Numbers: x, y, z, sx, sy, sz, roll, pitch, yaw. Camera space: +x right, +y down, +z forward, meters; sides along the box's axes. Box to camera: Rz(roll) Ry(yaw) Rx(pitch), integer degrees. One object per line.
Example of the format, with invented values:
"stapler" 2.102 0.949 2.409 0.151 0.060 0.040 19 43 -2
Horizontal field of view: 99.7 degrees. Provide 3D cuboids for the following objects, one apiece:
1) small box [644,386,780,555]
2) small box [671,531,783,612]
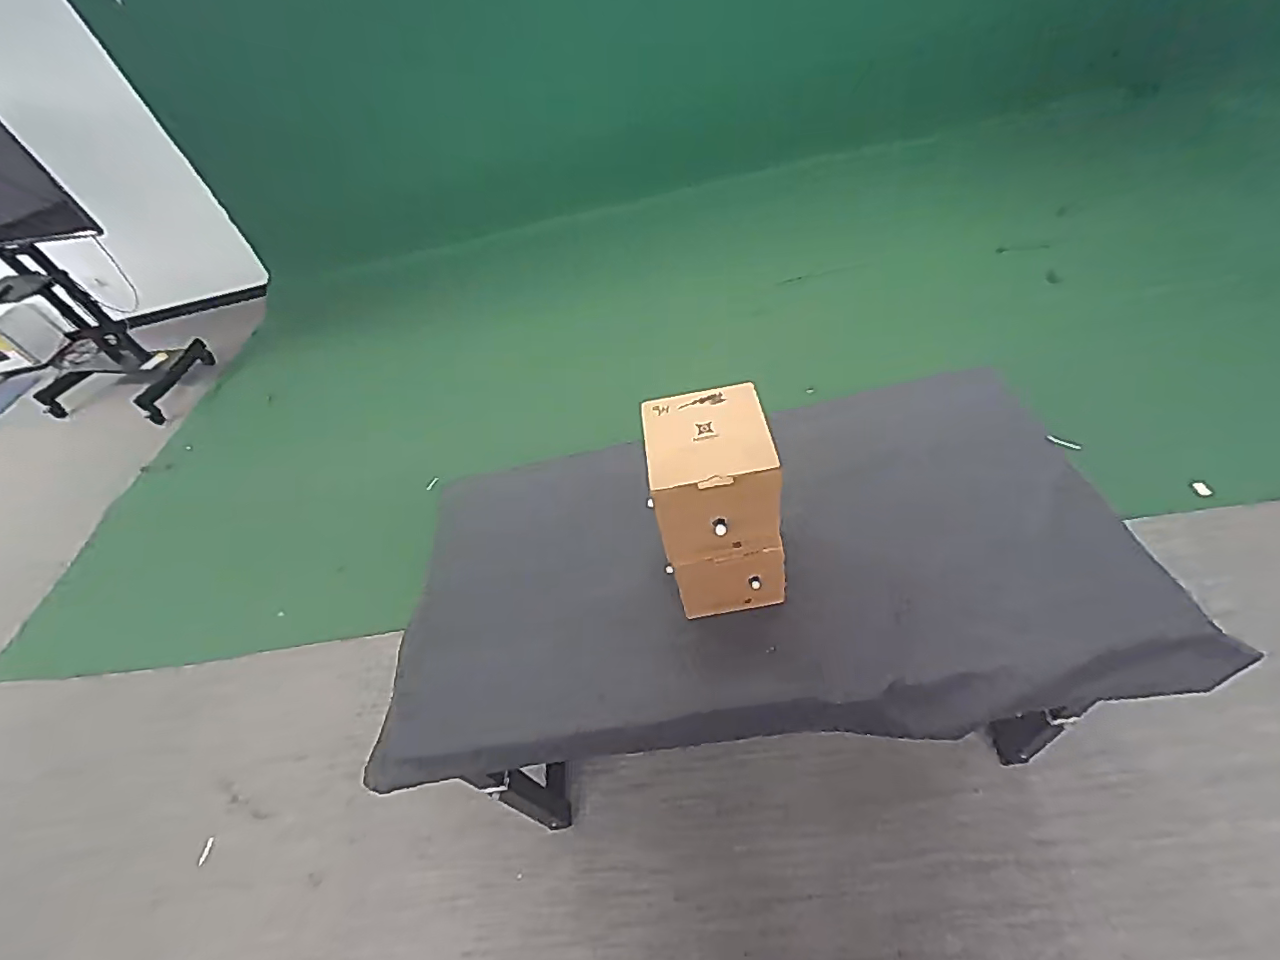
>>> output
"small box" 0.104 -0.006 0.786 0.168 0.176 0.179 -9 49 5
"small box" 0.138 0.105 0.903 0.168 0.176 0.179 -11 46 4
